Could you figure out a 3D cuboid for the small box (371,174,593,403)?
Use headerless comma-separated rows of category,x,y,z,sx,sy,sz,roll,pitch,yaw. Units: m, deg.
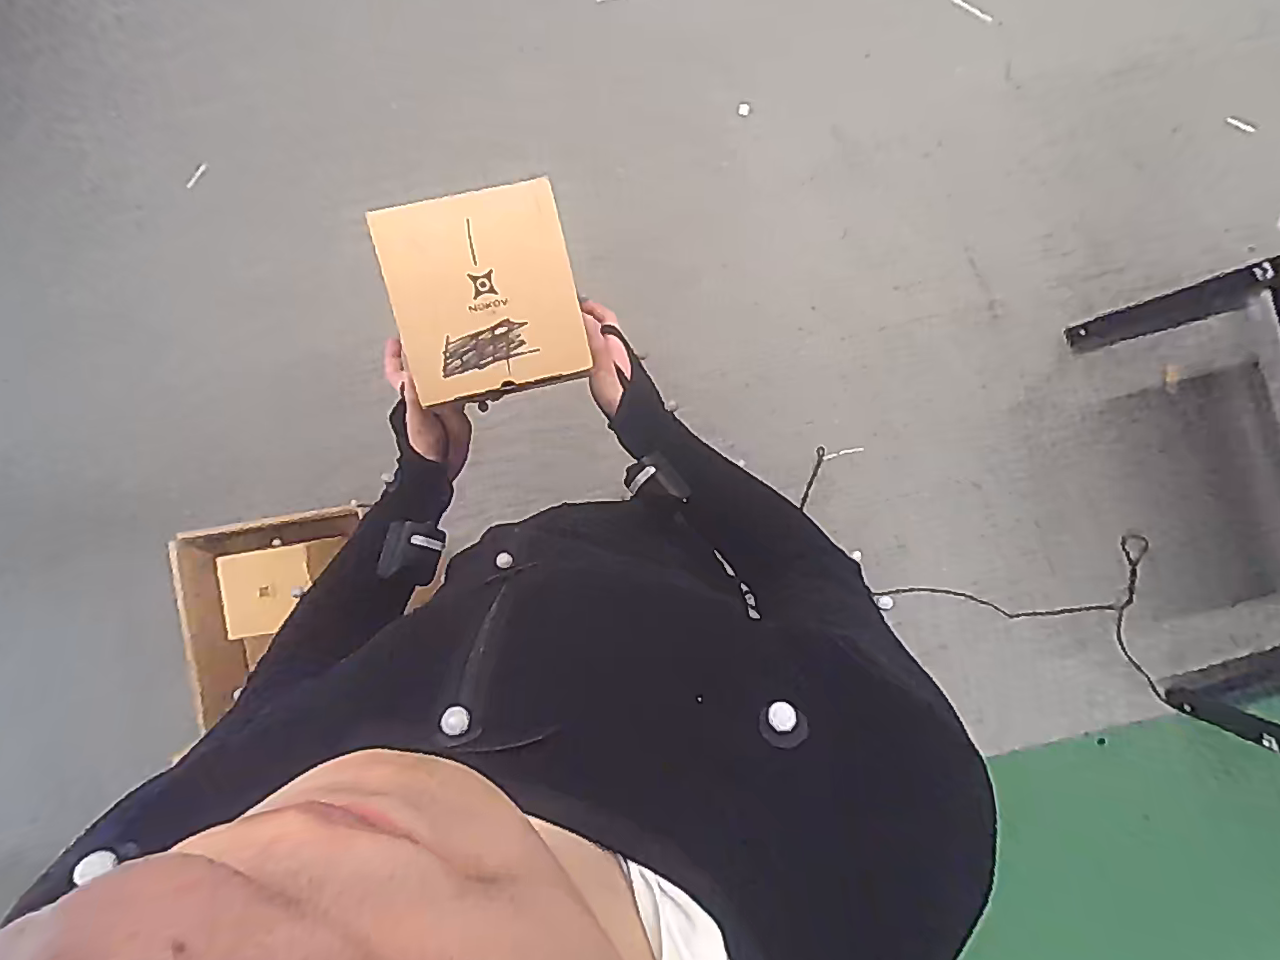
small box,-0.145,-0.184,0.567,0.168,0.176,0.179,-13,100,-3

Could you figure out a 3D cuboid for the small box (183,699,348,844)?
small box,-0.668,0.518,0.981,0.179,0.176,0.168,-7,90,1

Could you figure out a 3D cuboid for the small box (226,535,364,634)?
small box,-0.723,0.215,1.148,0.179,0.176,0.168,-9,90,0
